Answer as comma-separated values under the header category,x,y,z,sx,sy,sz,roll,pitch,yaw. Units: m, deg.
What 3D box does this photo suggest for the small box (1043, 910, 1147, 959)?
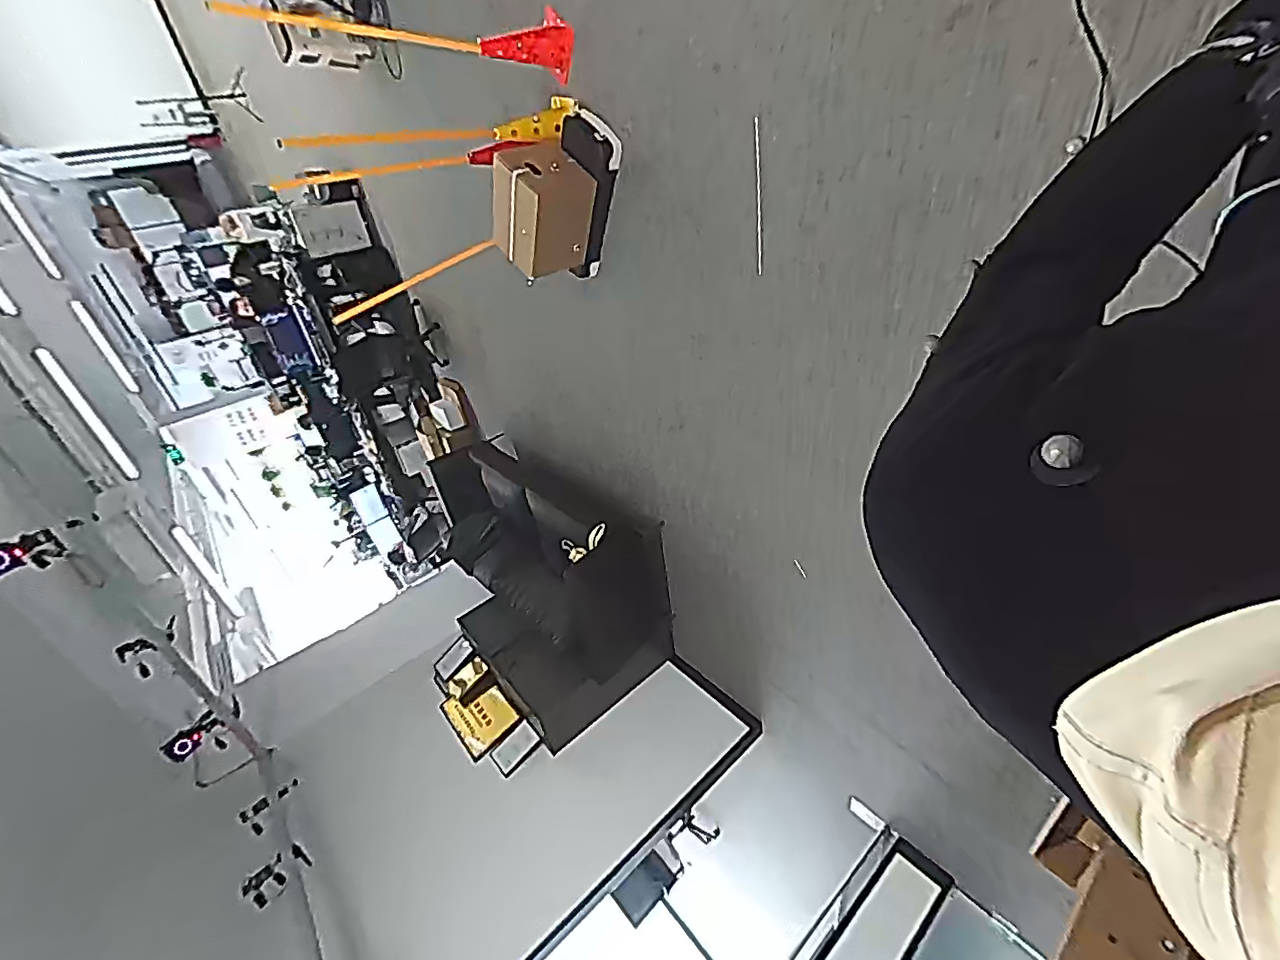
category,x,y,z,sx,sy,sz,roll,pitch,yaw
small box,0.936,1.037,1.102,0.168,0.176,0.179,30,140,43

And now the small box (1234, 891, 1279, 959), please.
category,x,y,z,sx,sy,sz,roll,pitch,yaw
small box,1.354,0.988,1.080,0.179,0.176,0.168,30,139,44
